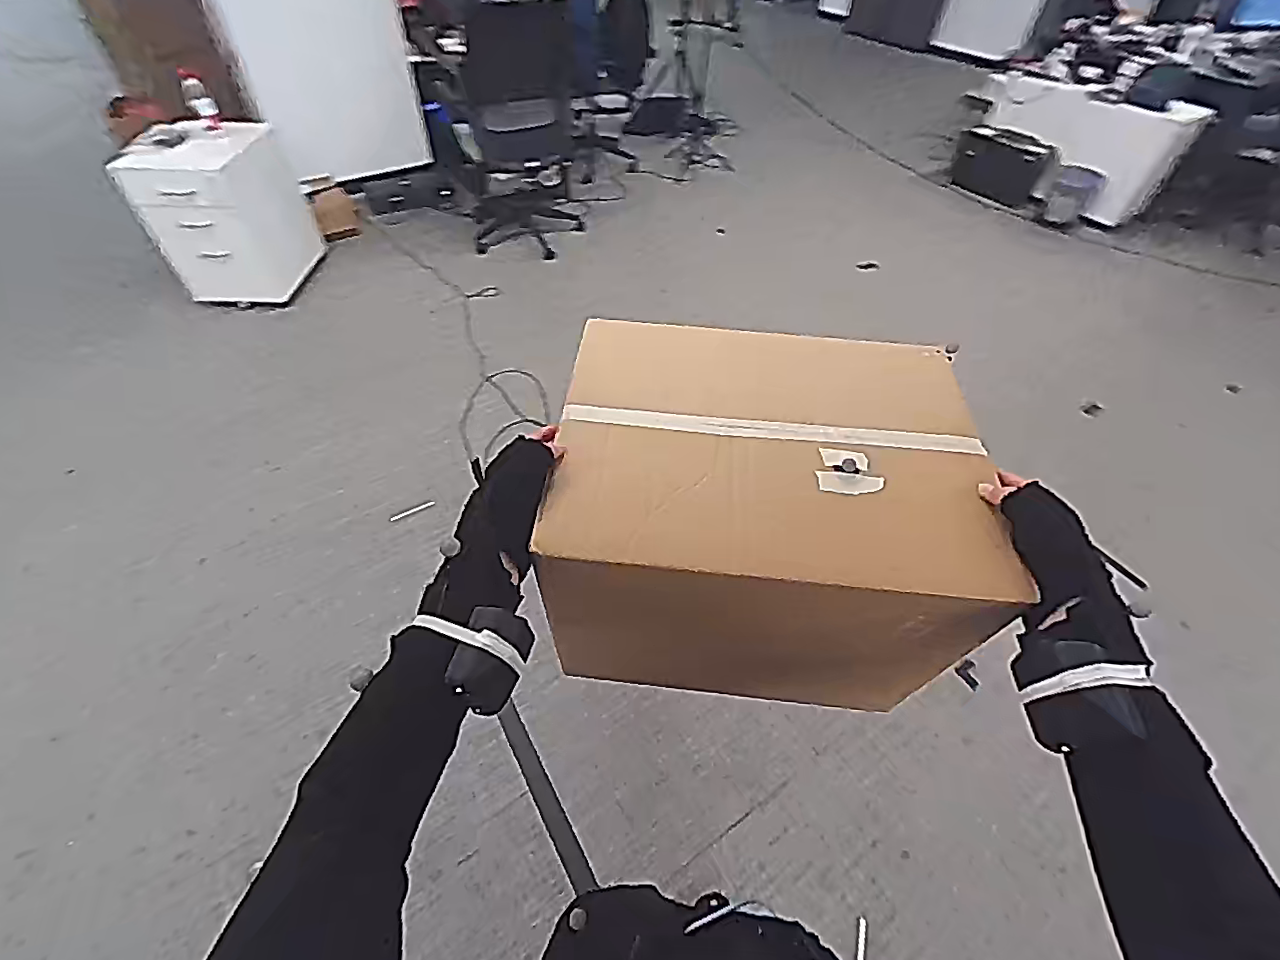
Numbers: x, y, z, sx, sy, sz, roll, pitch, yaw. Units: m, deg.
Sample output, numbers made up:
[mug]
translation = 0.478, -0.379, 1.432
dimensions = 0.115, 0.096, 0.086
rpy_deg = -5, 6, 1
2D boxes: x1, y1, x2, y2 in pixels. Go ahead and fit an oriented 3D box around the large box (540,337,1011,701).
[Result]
[large box]
translation = 0.116, 0.056, 0.657
dimensions = 0.408, 0.320, 0.320
rpy_deg = 5, 53, 2
